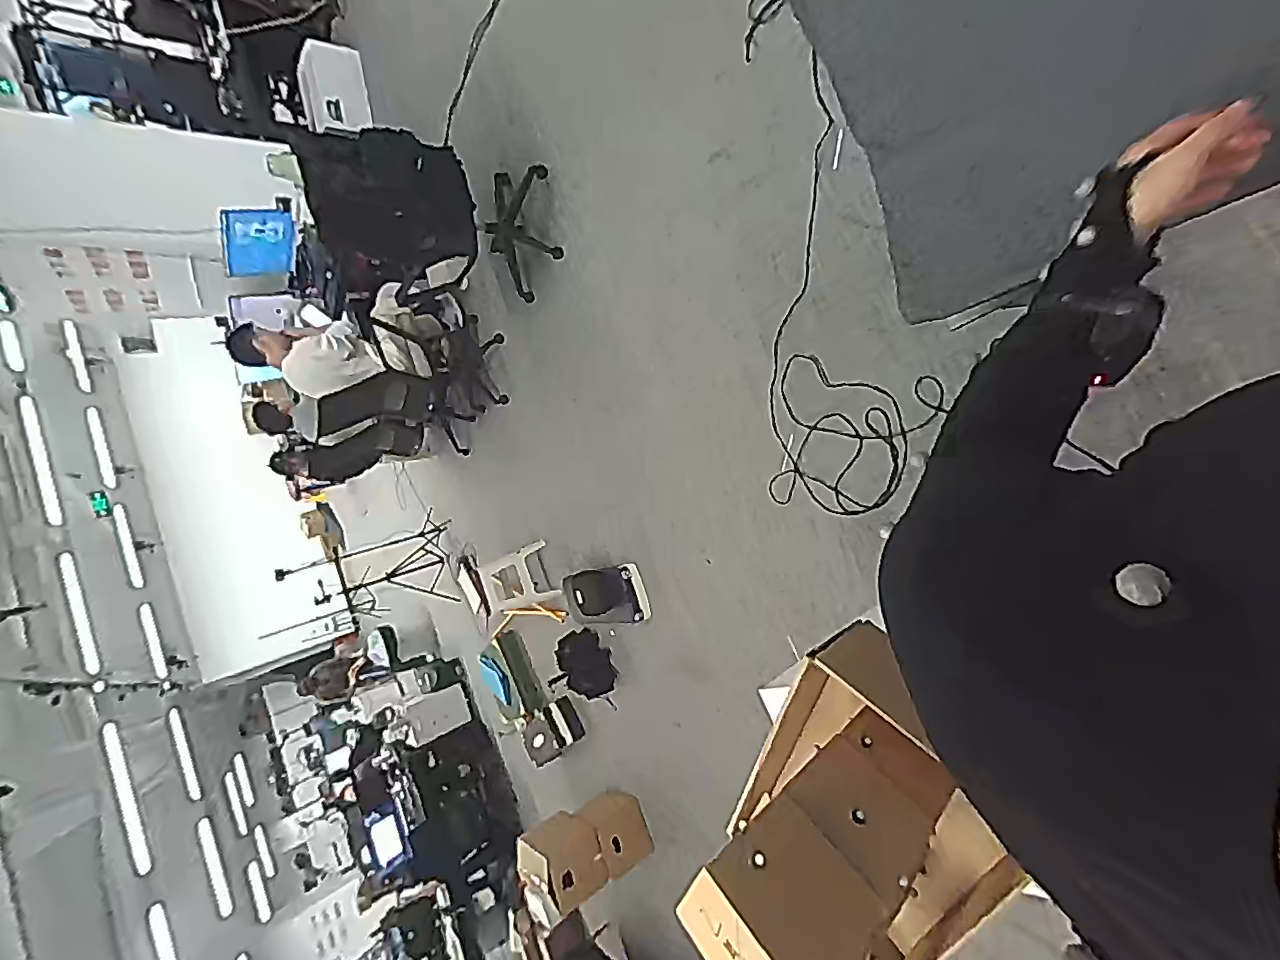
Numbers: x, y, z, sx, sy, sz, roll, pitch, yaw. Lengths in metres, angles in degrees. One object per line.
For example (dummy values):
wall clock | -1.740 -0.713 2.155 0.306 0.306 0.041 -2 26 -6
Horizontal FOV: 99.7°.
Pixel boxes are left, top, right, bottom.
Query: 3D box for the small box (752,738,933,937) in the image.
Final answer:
small box | 0.311 0.539 0.843 0.179 0.176 0.168 38 132 35

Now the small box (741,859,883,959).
small box | 0.303 0.781 0.950 0.179 0.176 0.168 6 109 48
